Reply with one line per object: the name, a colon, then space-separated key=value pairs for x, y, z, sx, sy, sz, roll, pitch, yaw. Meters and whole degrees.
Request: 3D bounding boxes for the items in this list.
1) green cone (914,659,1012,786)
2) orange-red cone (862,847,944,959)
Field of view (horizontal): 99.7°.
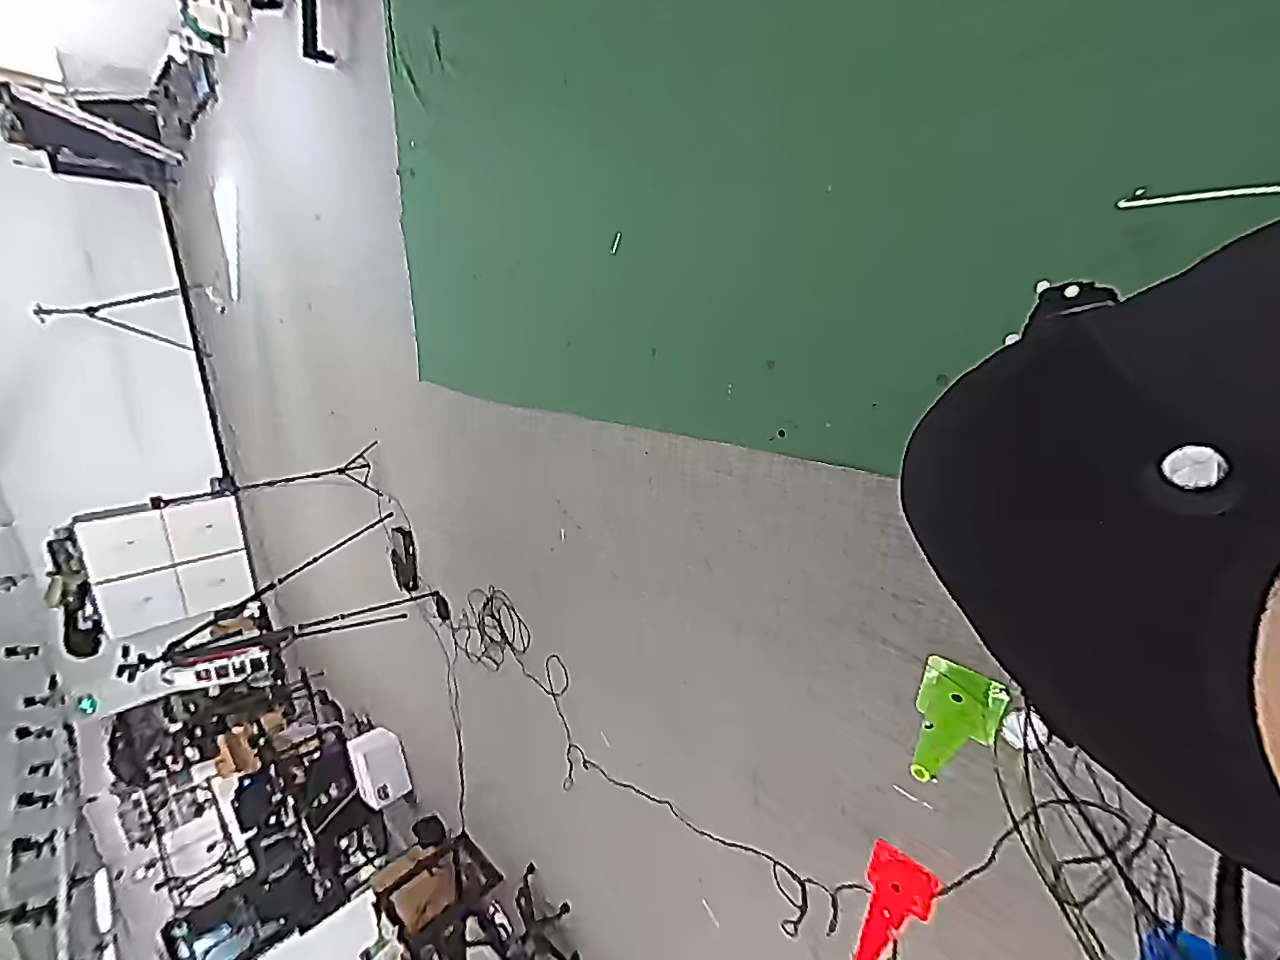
green cone: x=0.776 y=0.649 z=1.377 sx=0.200 sy=0.368 sz=0.202 roll=19 pitch=116 yaw=40
orange-red cone: x=0.740 y=1.338 z=1.619 sx=0.198 sy=0.360 sz=0.199 roll=21 pitch=114 yaw=38
